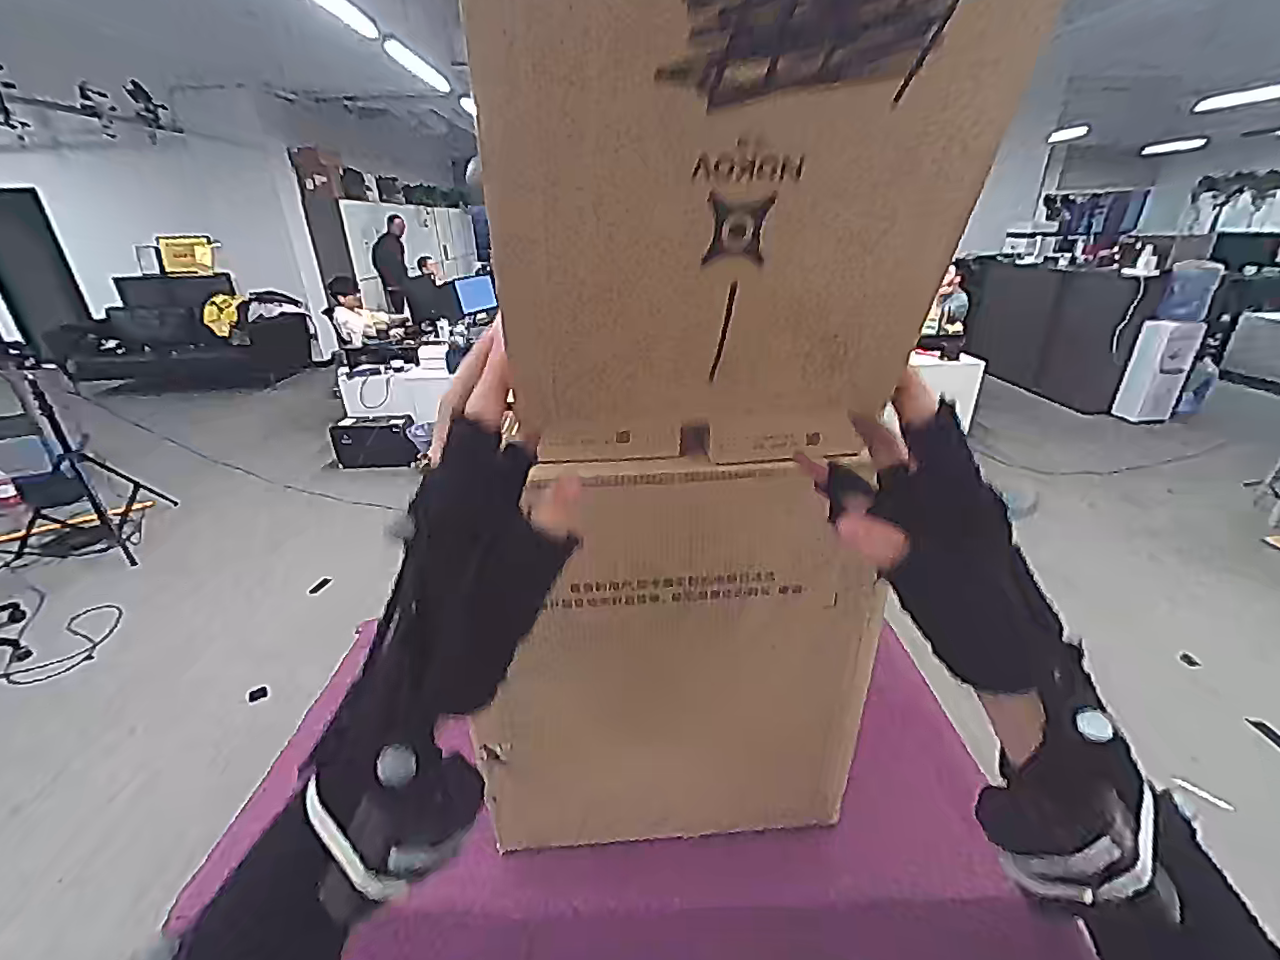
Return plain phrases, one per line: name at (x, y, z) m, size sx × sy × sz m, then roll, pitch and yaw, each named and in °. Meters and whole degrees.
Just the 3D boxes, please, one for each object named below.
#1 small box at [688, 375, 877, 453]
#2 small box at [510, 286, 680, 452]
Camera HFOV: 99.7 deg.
small box at (0.146, -0.138, 0.600) m, size 0.168 × 0.176 × 0.179 m, roll -4°, pitch 25°, yaw -3°
small box at (-0.046, -0.135, 0.609) m, size 0.168 × 0.176 × 0.179 m, roll -1°, pitch 24°, yaw -6°
